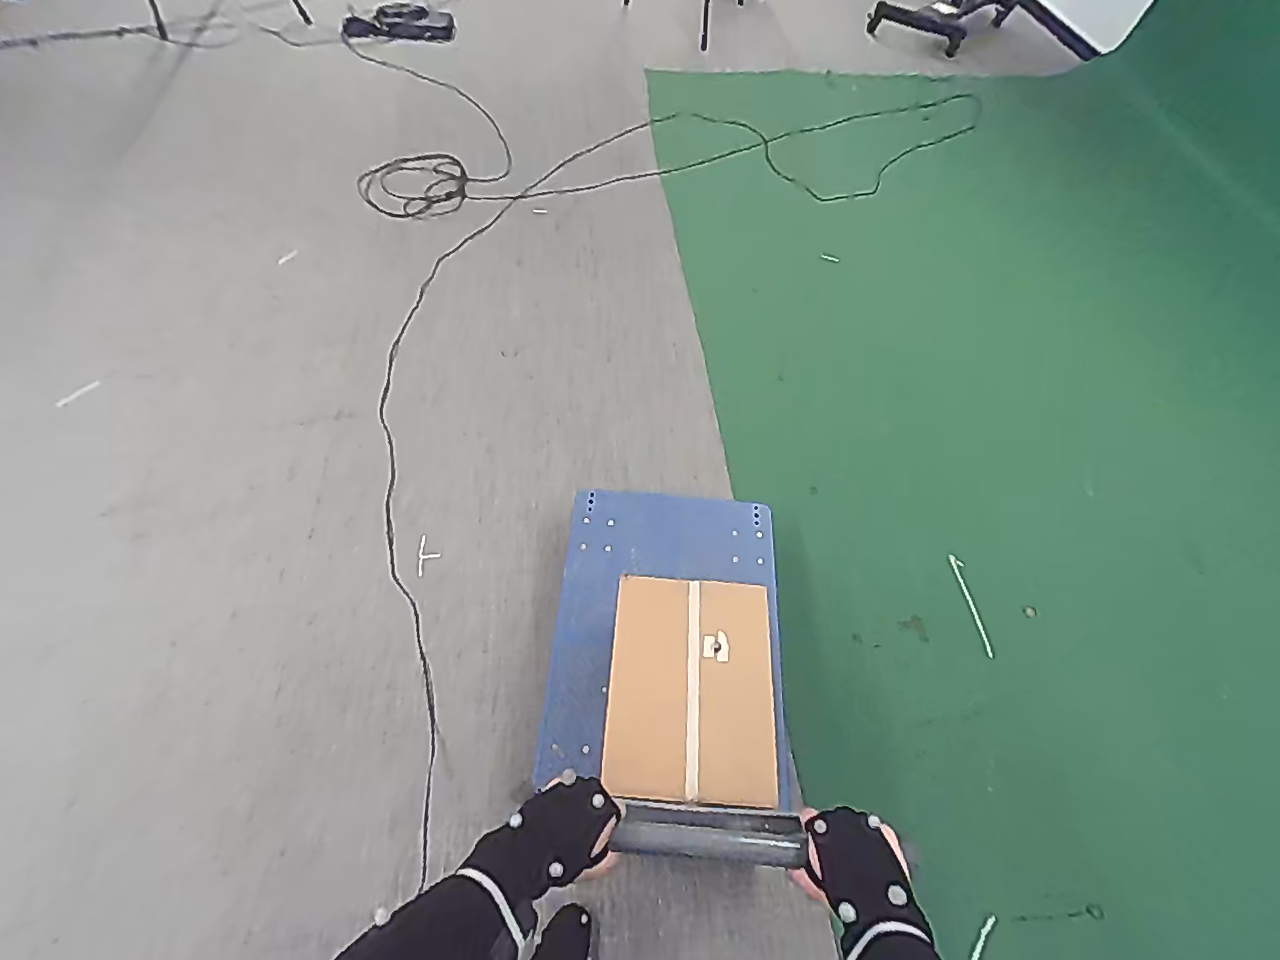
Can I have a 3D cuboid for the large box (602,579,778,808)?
[{"bbox_3d":[0.090,0.466,1.164,0.320,0.320,0.408,5,58,-1],"label":"large box"}]
